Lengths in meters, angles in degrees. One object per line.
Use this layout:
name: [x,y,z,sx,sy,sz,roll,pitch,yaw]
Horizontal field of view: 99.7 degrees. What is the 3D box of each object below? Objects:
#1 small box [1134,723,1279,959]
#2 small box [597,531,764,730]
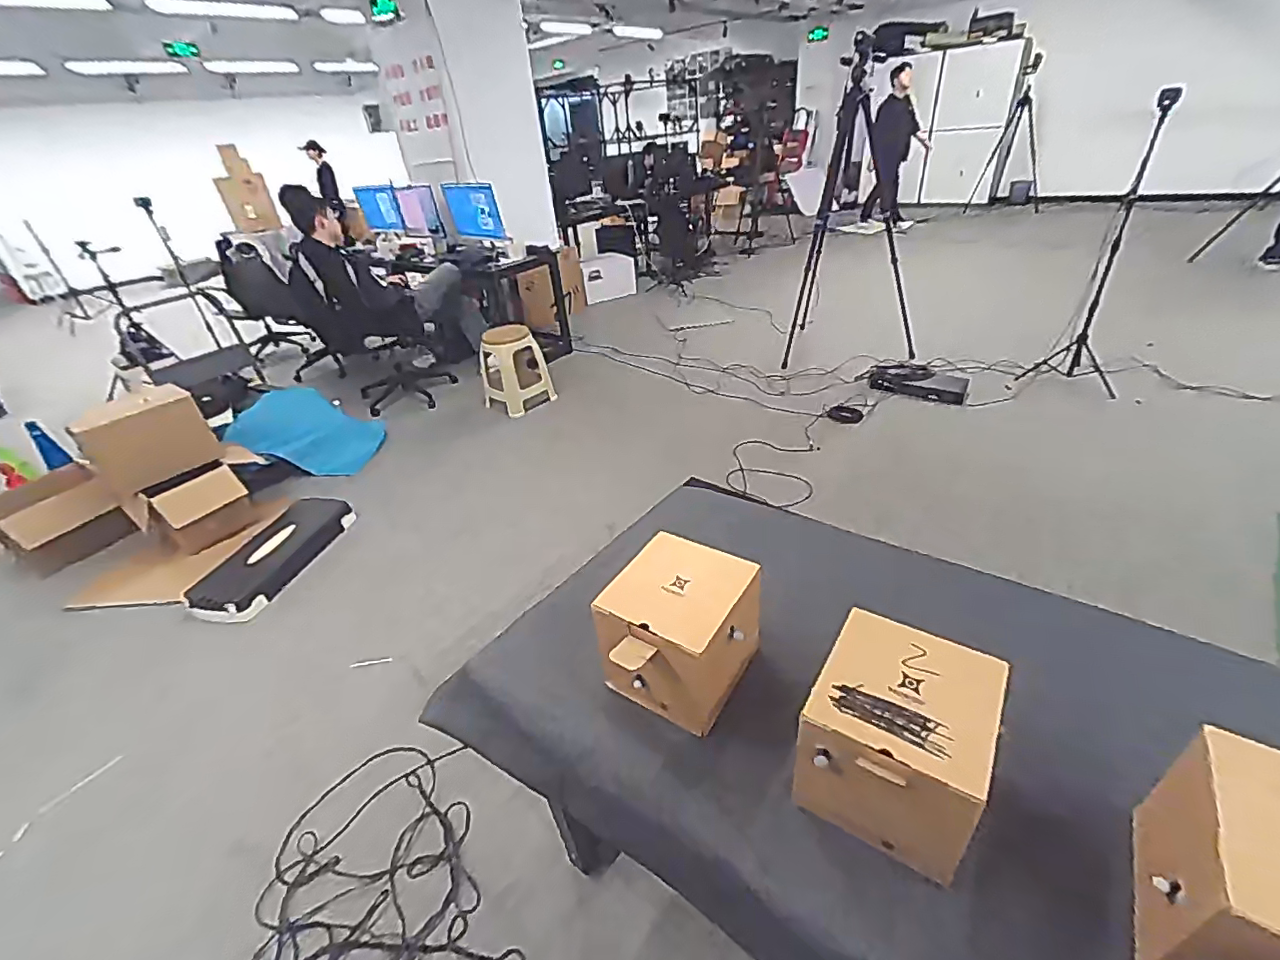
small box: [0.549,0.354,0.449,0.168,0.176,0.179,18,39,31]
small box: [0.060,0.206,0.763,0.168,0.176,0.179,17,40,30]
